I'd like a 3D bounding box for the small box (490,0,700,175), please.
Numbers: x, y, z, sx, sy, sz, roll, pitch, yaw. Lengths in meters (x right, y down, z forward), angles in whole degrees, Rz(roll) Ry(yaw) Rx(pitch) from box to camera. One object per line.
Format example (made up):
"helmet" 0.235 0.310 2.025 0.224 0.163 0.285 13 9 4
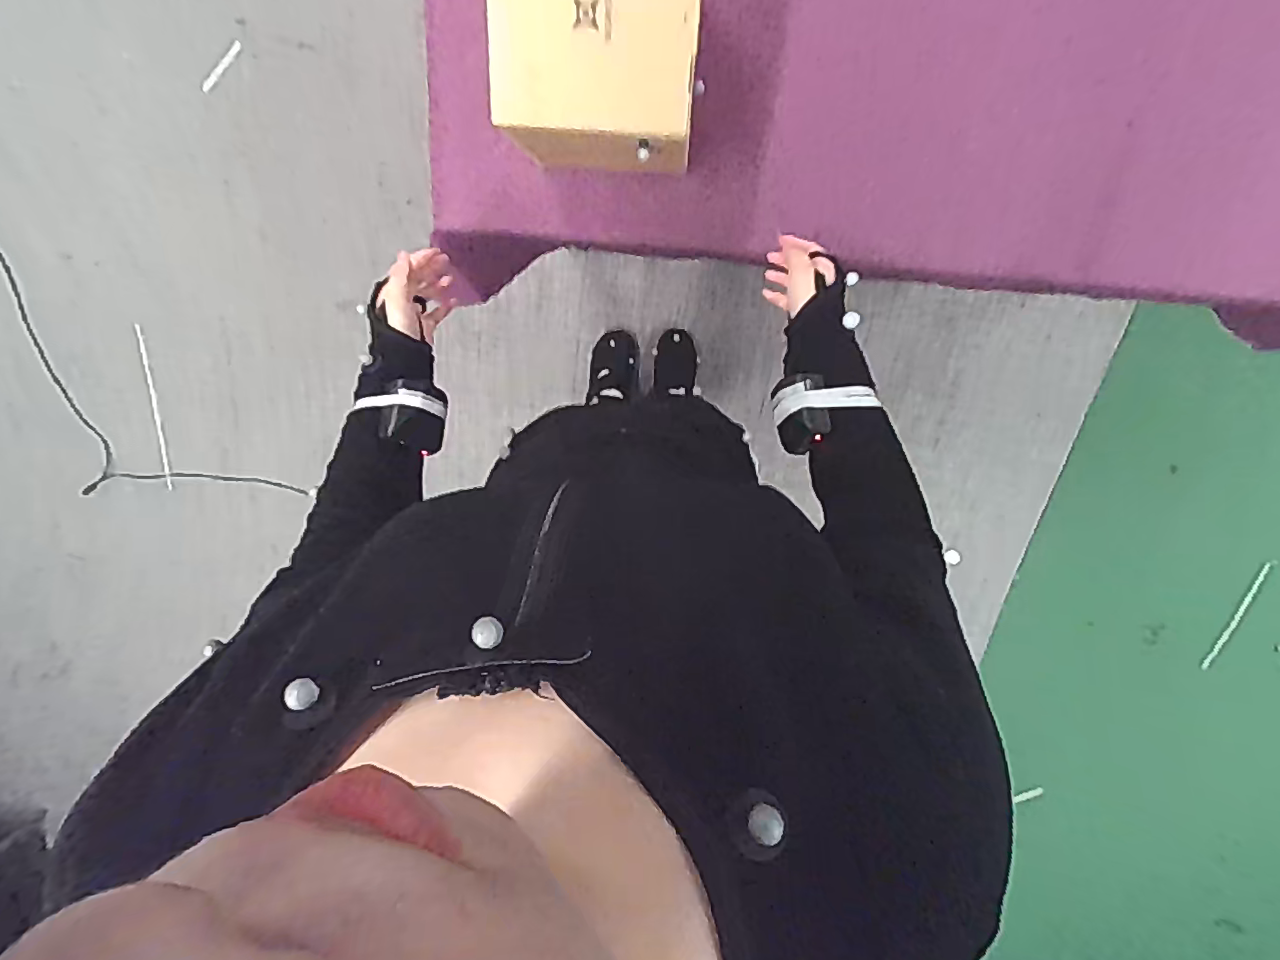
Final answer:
"small box" -0.035 -0.407 0.524 0.179 0.176 0.168 4 109 2
